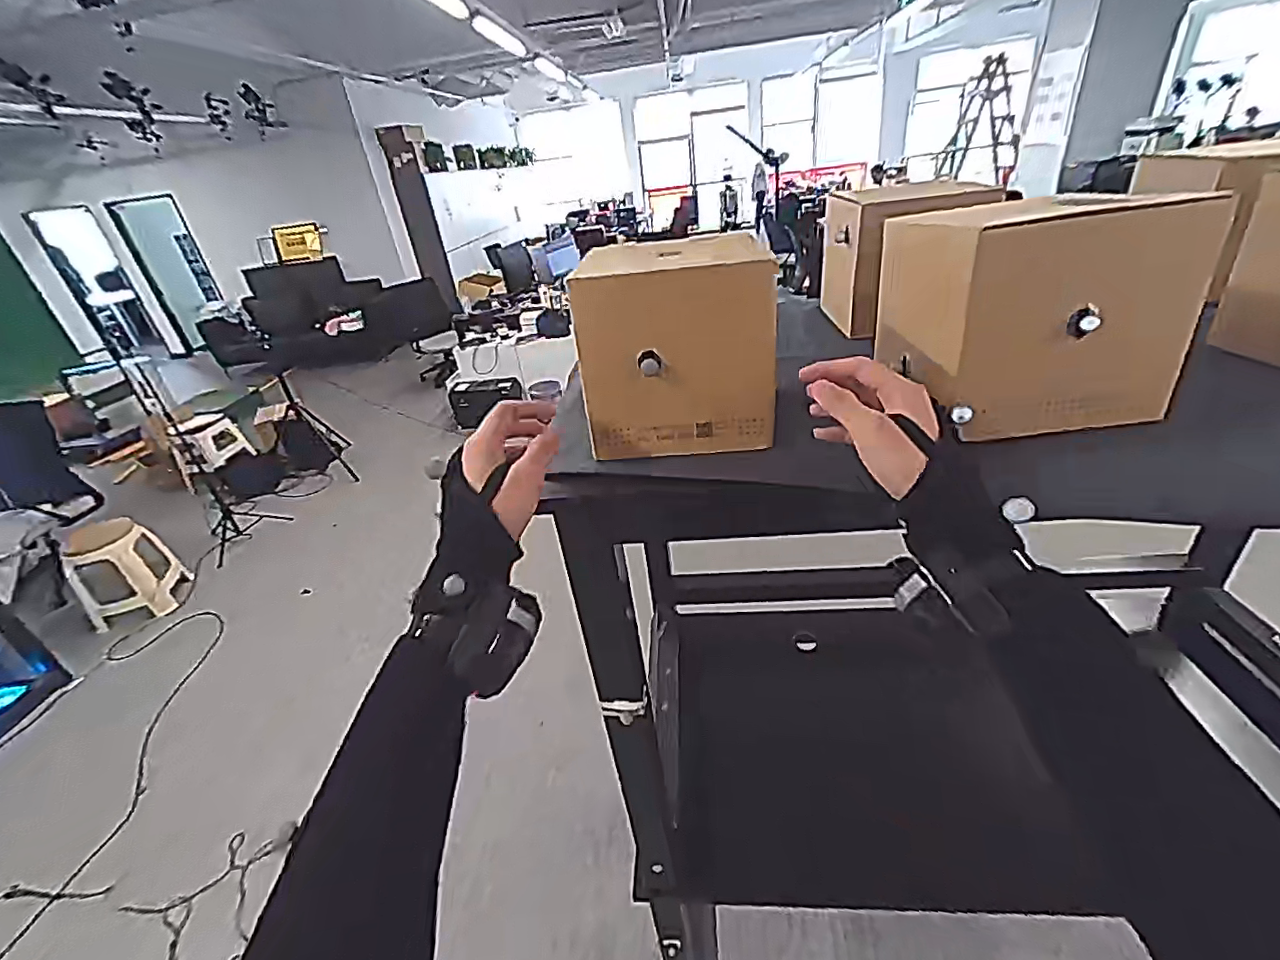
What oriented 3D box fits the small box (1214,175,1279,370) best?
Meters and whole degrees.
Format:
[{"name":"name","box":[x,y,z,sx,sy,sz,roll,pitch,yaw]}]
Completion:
[{"name":"small box","box":[0.666,-0.174,0.454,0.168,0.176,0.179,-4,28,7]}]

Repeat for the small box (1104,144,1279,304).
[{"name":"small box","box":[0.767,-0.331,0.707,0.168,0.176,0.179,0,31,11]}]

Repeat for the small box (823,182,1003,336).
[{"name":"small box","box":[0.357,-0.301,0.745,0.168,0.176,0.179,-3,31,6]}]

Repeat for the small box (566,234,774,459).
[{"name":"small box","box":[0.035,-0.128,0.525,0.168,0.176,0.179,-4,30,5]}]
